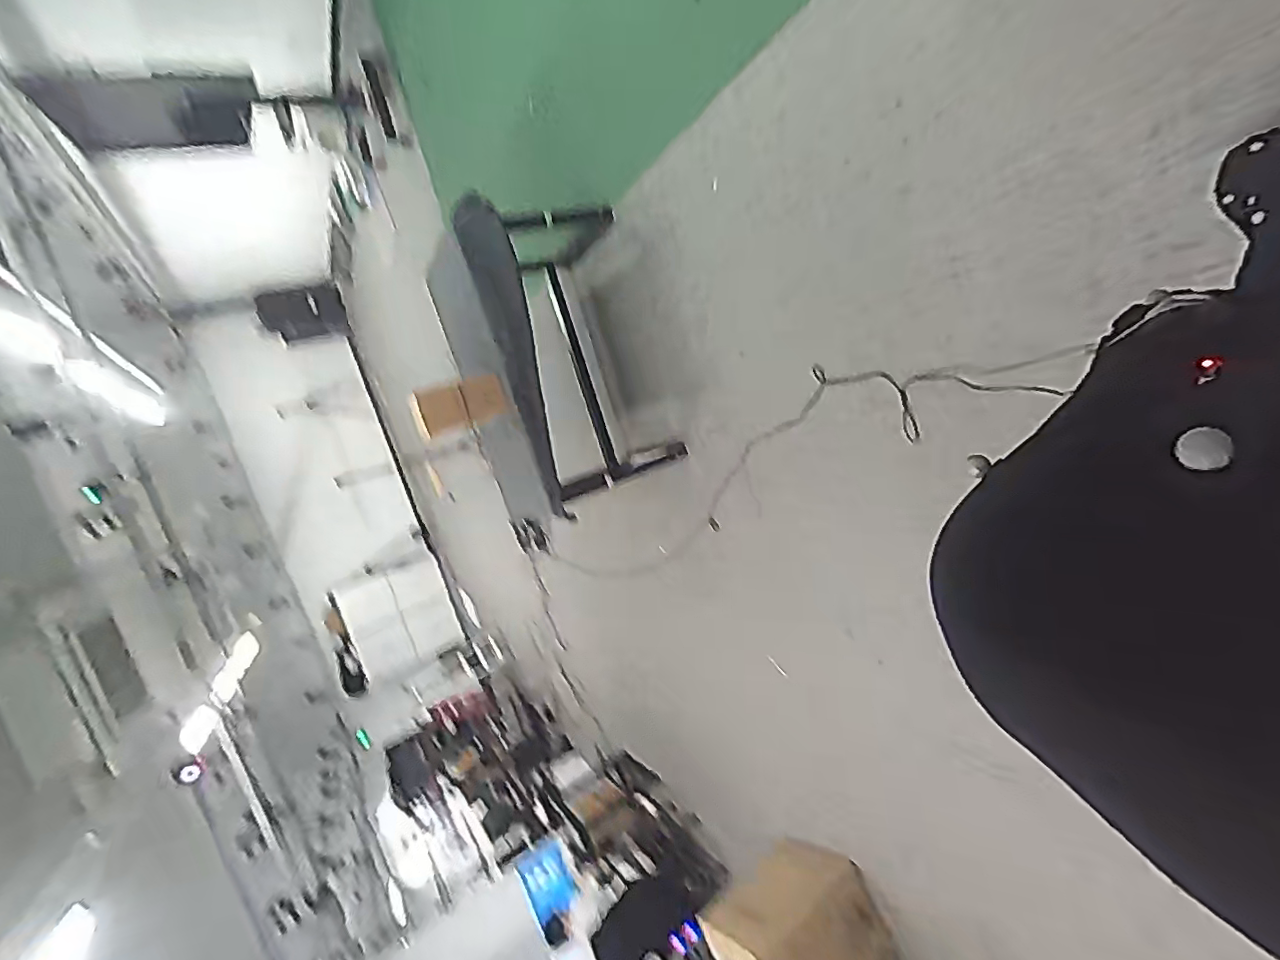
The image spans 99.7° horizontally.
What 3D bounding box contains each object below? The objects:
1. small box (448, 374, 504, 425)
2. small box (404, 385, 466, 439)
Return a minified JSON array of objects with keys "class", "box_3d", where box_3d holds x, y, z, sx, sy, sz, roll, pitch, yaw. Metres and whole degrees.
[{"class":"small box","box_3d":[-0.677,-0.325,2.206,0.168,0.176,0.179,-2,107,59]},{"class":"small box","box_3d":[-0.804,-0.270,2.119,0.168,0.176,0.179,-1,107,59]}]
